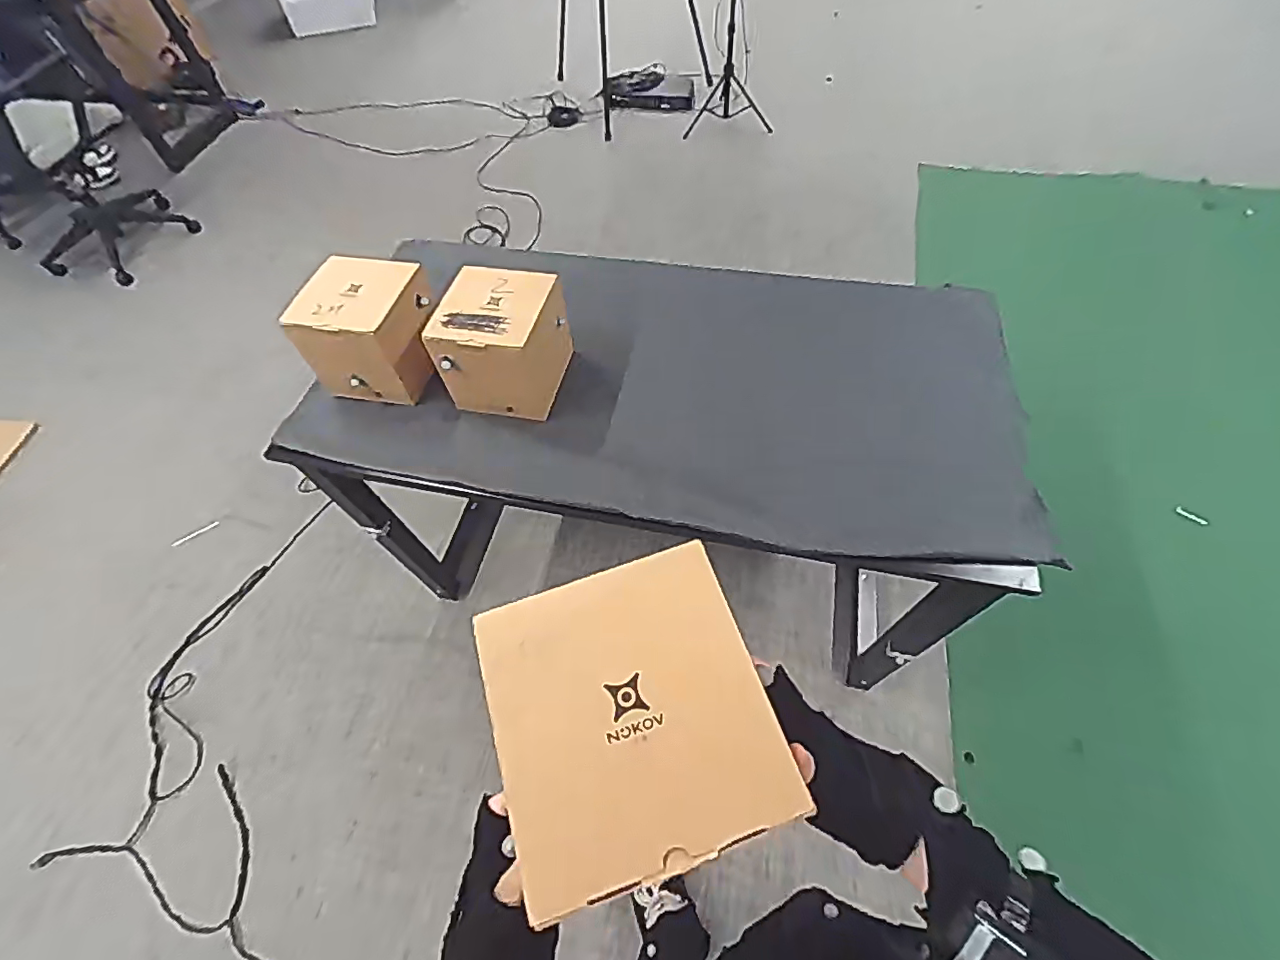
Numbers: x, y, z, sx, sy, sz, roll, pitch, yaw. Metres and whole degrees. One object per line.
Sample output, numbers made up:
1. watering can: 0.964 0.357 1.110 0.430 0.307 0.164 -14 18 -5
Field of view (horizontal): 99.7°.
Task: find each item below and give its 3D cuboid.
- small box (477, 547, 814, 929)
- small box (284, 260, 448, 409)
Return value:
1. small box: -0.004 0.178 0.399 0.168 0.176 0.179 -18 63 -8
2. small box: -0.455 -0.250 0.937 0.168 0.176 0.179 8 57 8
